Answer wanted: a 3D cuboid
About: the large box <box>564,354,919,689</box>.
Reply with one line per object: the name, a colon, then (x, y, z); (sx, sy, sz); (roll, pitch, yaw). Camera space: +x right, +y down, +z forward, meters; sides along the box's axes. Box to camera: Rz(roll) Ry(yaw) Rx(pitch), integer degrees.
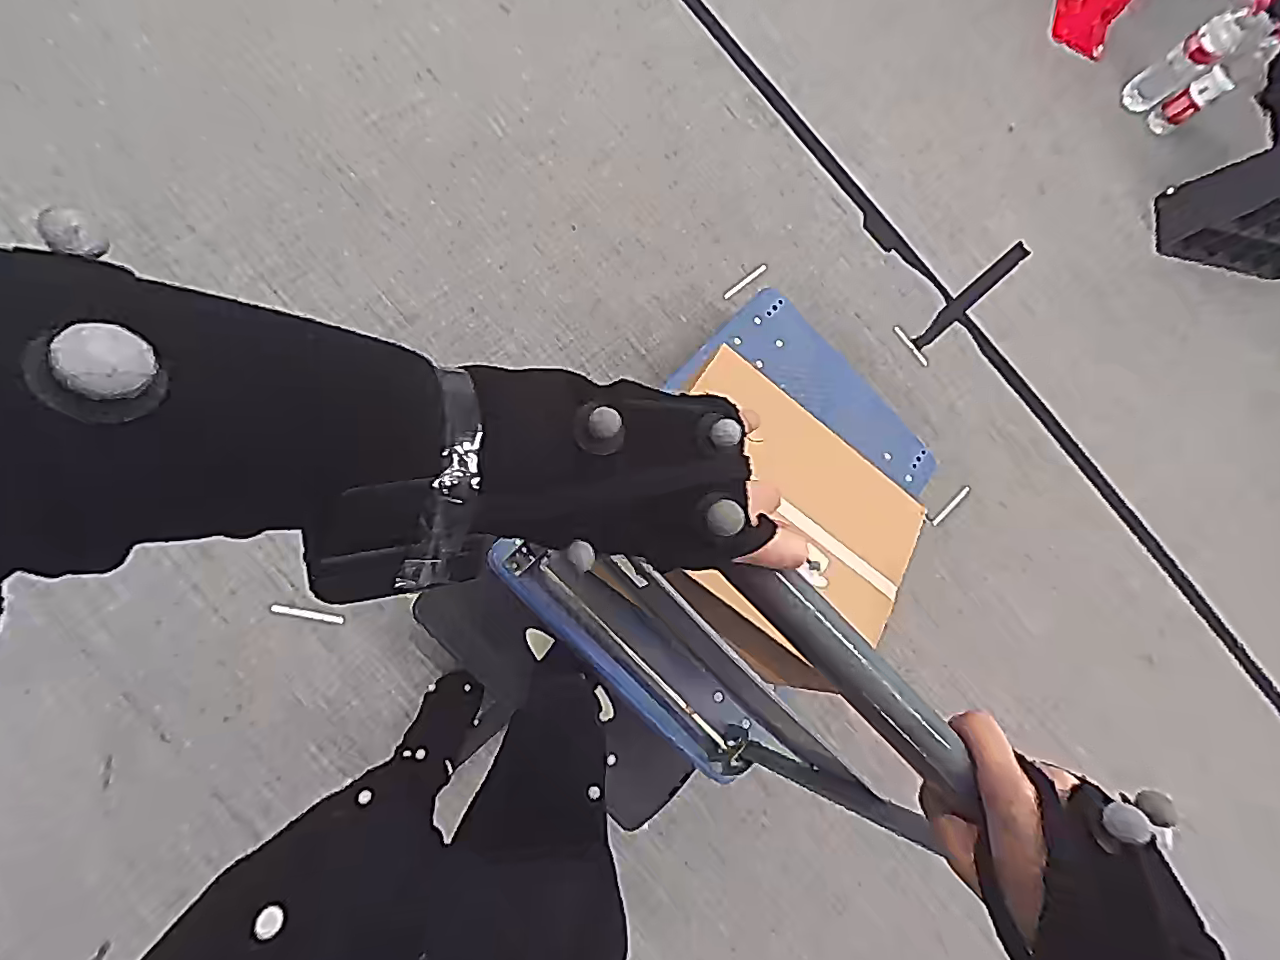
large box: (0.147, 0.083, 0.879); (0.408, 0.320, 0.320); (38, 67, -7)
